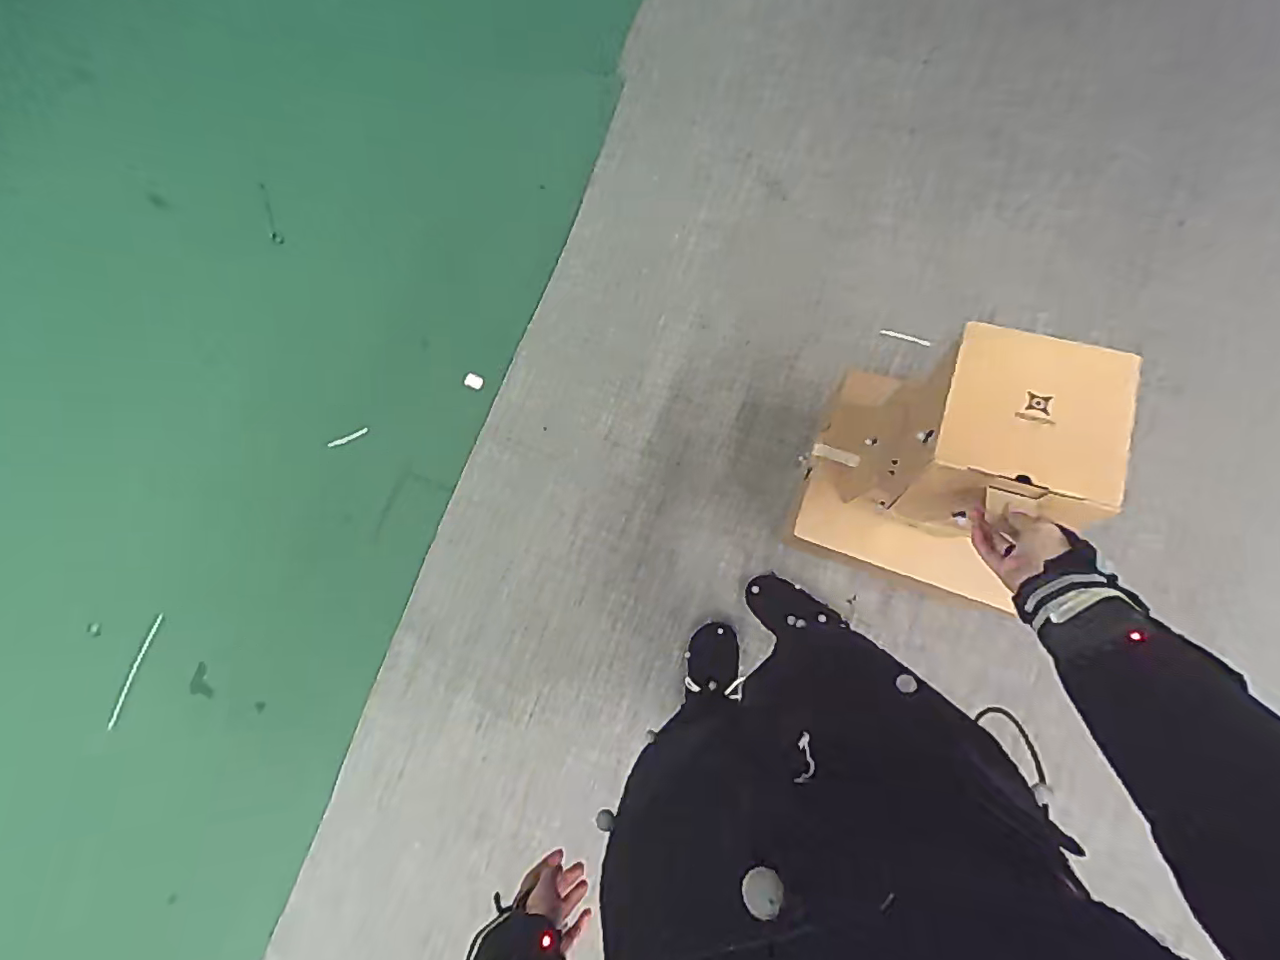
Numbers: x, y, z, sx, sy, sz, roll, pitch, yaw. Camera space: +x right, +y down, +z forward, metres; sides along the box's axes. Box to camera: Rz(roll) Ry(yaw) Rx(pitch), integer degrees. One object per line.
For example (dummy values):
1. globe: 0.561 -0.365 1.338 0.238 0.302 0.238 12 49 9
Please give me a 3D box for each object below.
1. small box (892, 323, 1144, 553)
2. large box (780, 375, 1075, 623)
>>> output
1. small box: 0.406 -0.039 0.608 0.168 0.176 0.179 19 73 15
2. large box: 0.517 0.041 1.026 0.408 0.320 0.320 20 86 11
